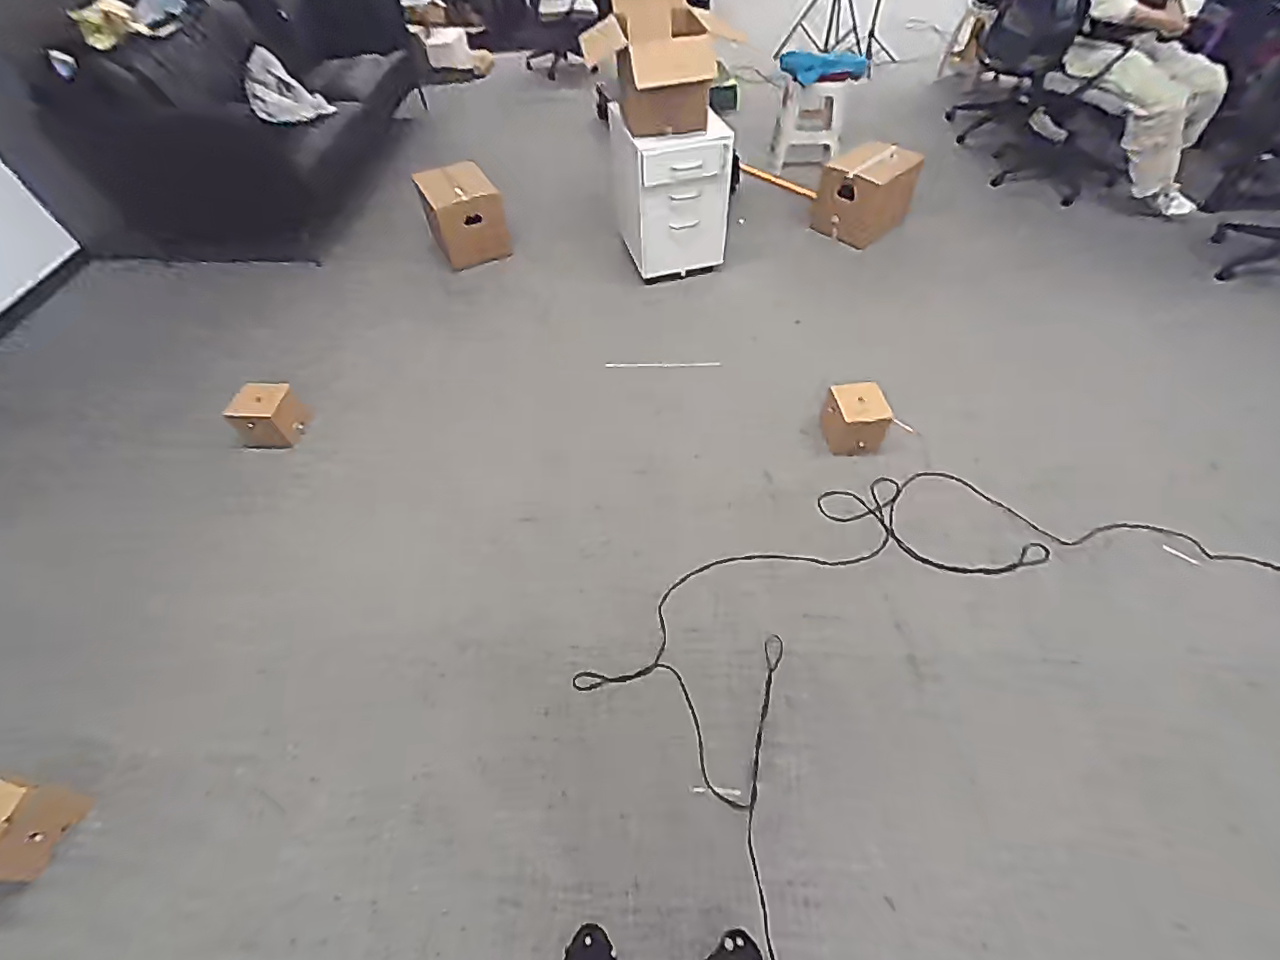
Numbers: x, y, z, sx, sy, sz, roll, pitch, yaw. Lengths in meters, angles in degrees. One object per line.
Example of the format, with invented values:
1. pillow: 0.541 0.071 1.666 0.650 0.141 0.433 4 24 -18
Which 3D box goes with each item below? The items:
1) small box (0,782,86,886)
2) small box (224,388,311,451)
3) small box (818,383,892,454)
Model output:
1. small box: -1.432 0.789 1.211 0.179 0.176 0.168 11 54 10
2. small box: -1.370 -0.222 2.000 0.179 0.176 0.168 2 53 3
3. small box: 0.736 -0.211 1.875 0.168 0.176 0.179 -6 53 -2
